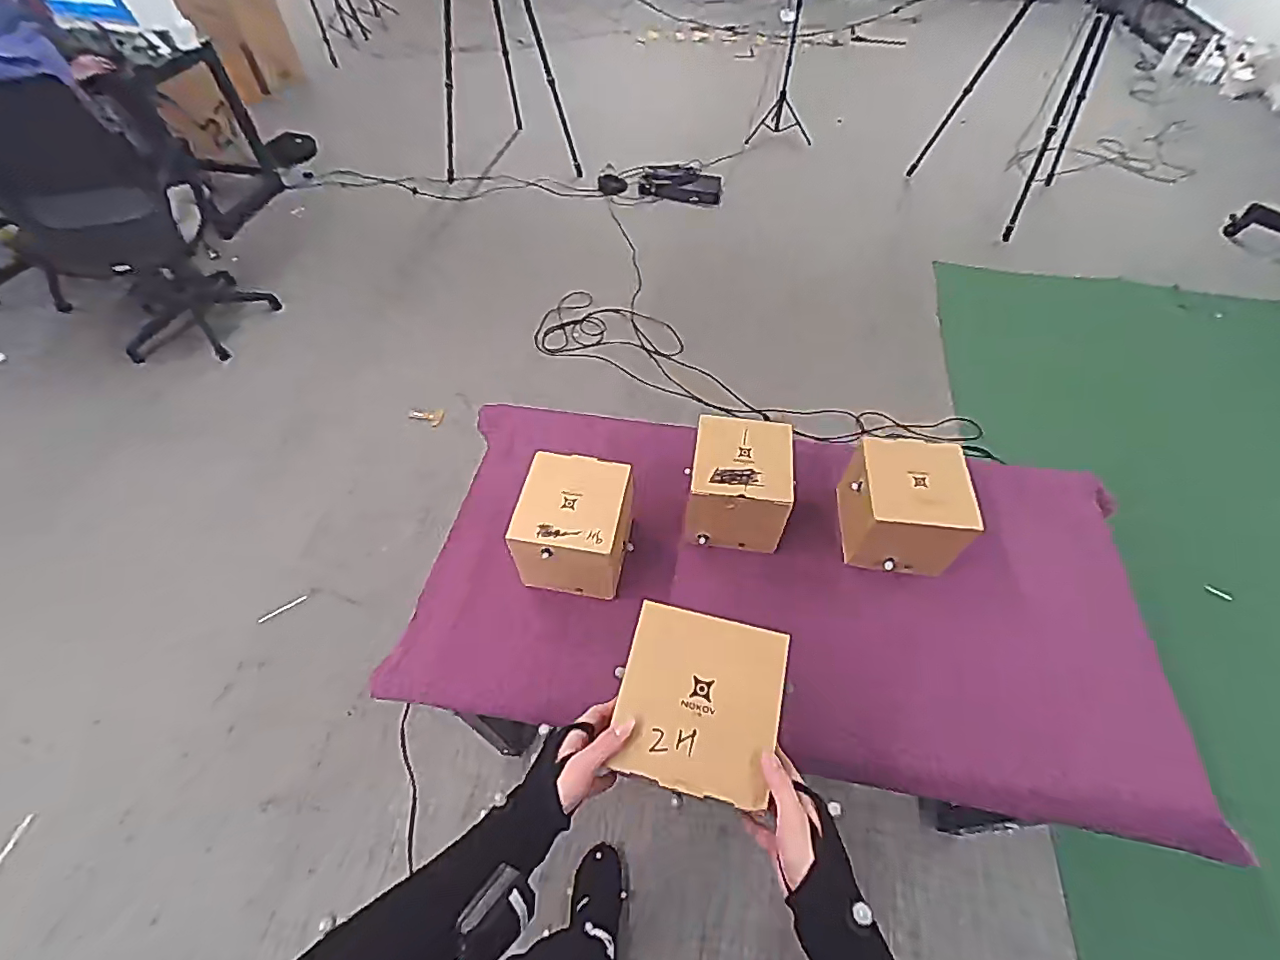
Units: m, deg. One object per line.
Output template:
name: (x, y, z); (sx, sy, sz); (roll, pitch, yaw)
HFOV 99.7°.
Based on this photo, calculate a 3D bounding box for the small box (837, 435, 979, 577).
small box: (0.455, 0.048, 0.952); (0.168, 0.176, 0.179); (6, 55, 5)

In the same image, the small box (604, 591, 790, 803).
small box: (0.066, 0.256, 0.634); (0.168, 0.176, 0.179); (12, 61, 11)

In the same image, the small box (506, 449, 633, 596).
small box: (-0.109, 0.074, 0.924); (0.168, 0.176, 0.179); (8, 54, 7)

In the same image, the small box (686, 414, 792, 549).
small box: (0.175, 0.007, 0.979); (0.168, 0.176, 0.179); (7, 54, 5)
